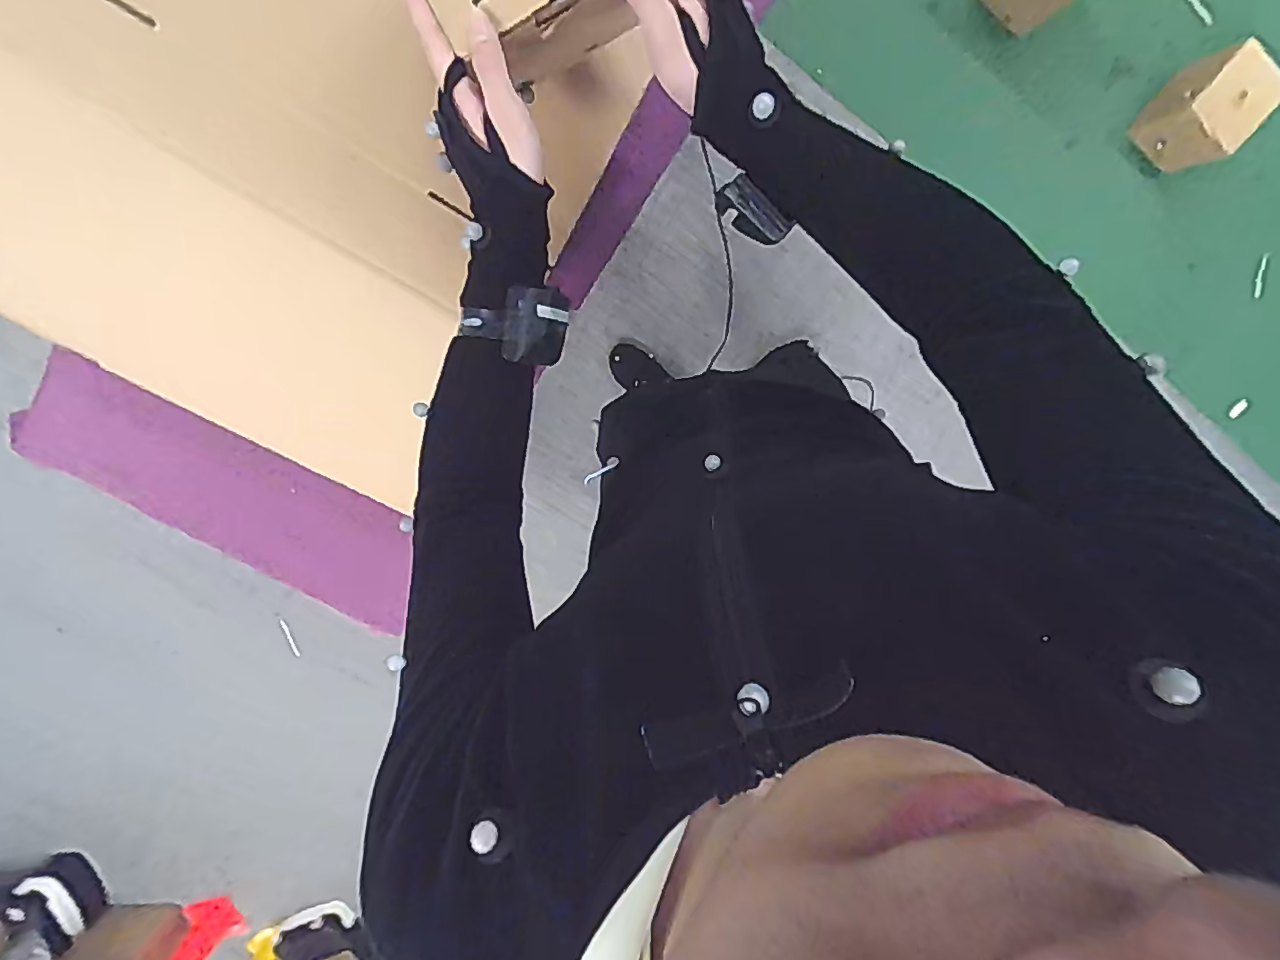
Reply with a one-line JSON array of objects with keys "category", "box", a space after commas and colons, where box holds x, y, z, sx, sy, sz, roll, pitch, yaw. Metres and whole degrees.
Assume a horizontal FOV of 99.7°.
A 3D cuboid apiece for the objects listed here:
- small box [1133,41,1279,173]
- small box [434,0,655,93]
[{"category": "small box", "box": [1.376, -0.890, 1.310, 0.168, 0.176, 0.179, 34, 104, -11]}, {"category": "small box", "box": [-0.089, -0.427, 0.405, 0.168, 0.176, 0.179, -25, 113, 7]}]
